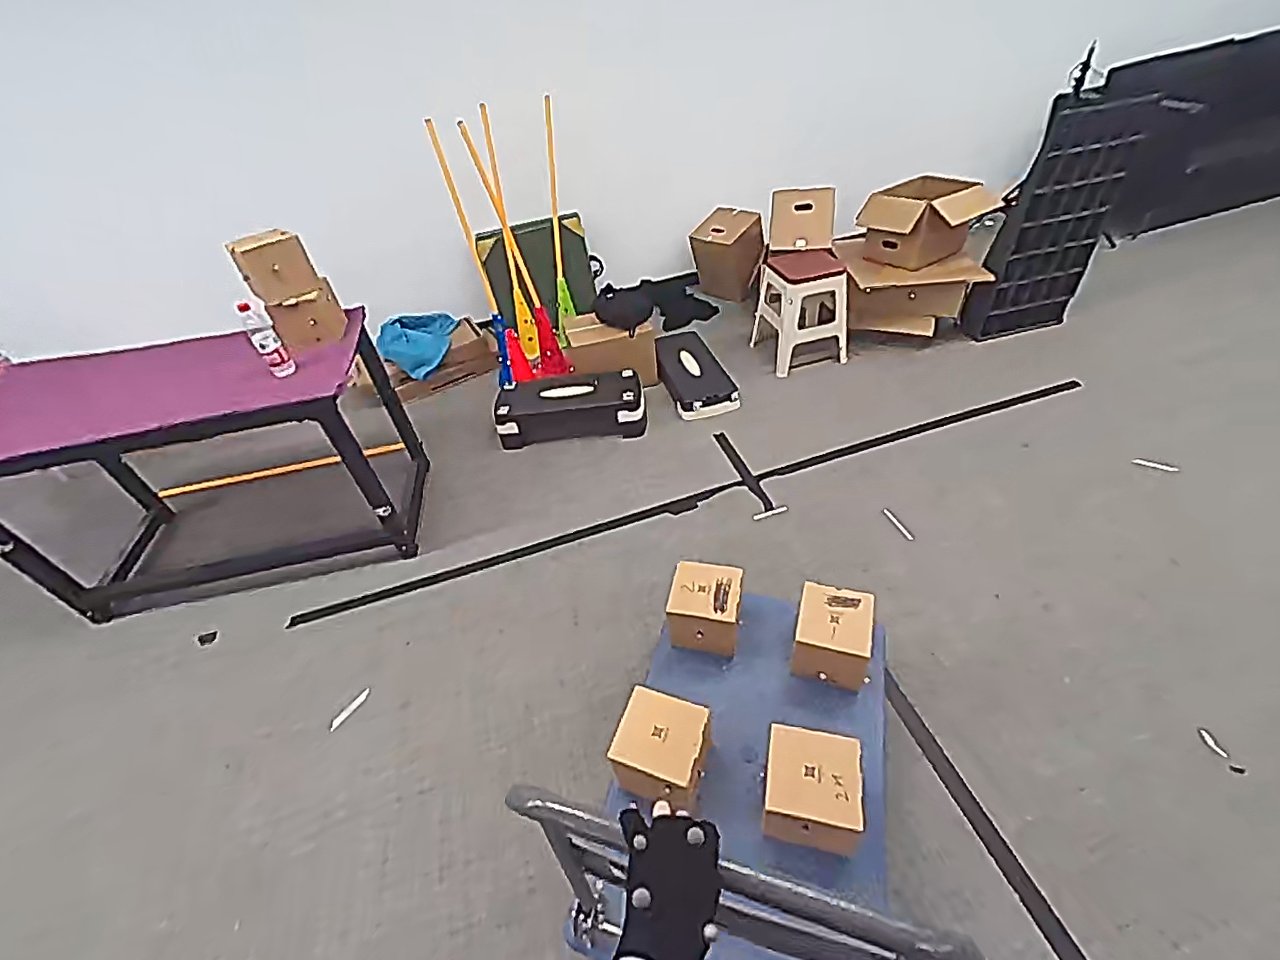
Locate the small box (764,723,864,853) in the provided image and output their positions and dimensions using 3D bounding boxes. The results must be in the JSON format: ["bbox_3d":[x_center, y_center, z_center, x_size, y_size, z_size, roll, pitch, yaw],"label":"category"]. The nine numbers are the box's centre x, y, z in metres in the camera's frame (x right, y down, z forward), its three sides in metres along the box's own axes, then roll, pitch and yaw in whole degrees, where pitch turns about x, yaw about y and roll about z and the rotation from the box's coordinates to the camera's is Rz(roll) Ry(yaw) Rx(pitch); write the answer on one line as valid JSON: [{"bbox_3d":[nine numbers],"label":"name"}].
[{"bbox_3d":[0.348,0.624,1.093,0.179,0.176,0.168,5,44,15],"label":"small box"}]

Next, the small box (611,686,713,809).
[{"bbox_3d":[0.055,0.587,1.184,0.179,0.176,0.168,11,45,19],"label":"small box"}]

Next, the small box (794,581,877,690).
[{"bbox_3d":[0.479,0.383,1.335,0.168,0.176,0.179,9,46,19],"label":"small box"}]
